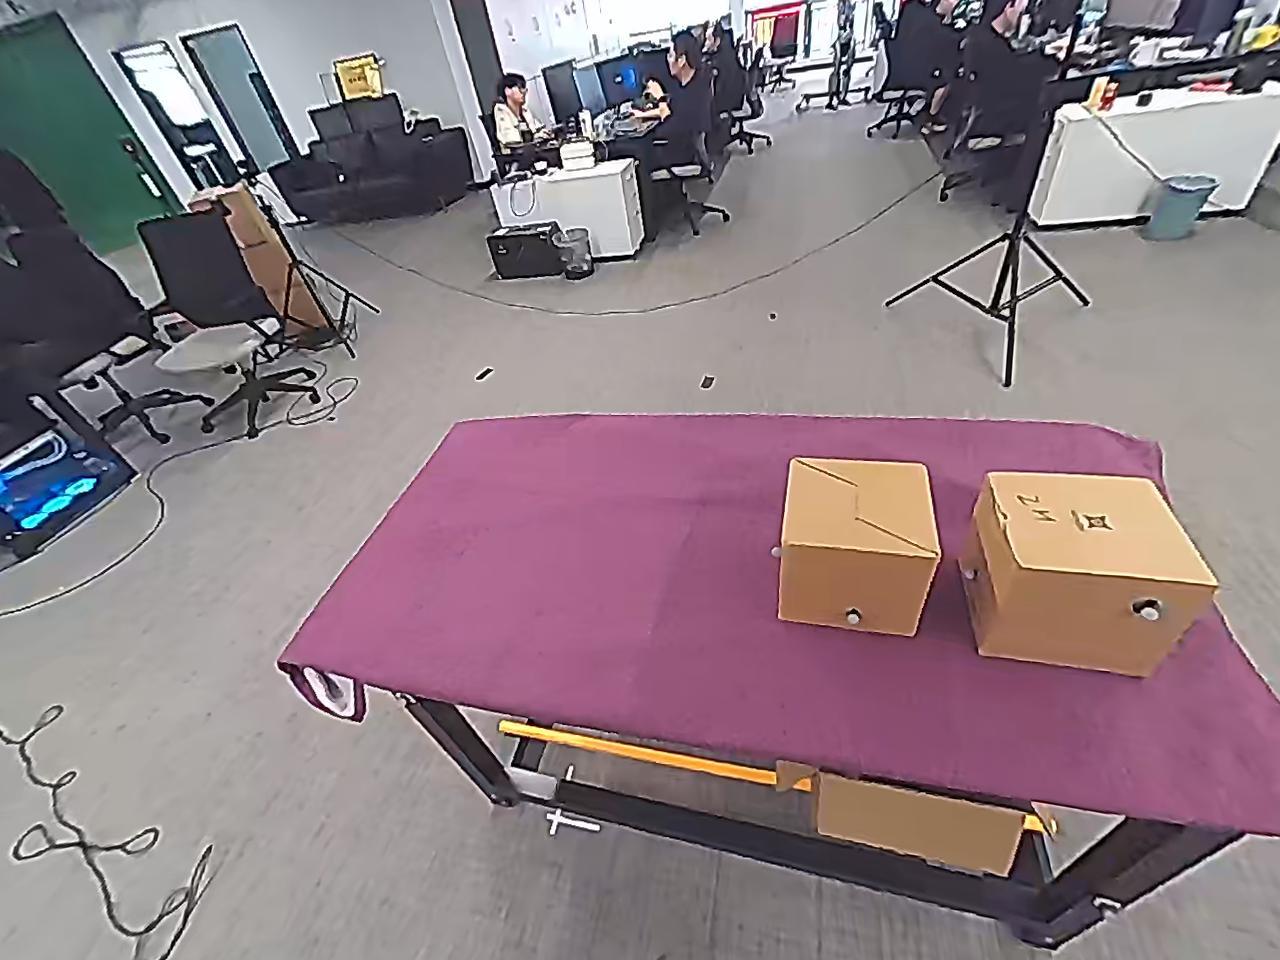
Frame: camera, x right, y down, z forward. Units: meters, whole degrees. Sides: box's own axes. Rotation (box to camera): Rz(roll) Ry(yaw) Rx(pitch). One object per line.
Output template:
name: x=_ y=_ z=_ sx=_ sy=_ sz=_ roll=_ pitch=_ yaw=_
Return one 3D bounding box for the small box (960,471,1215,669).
small box: x=0.521 y=0.110 z=0.666 sx=0.179 sy=0.176 sz=0.168 roll=4 pitch=40 yaw=17

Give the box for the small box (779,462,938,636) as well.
small box: x=0.290 y=0.088 z=0.746 sx=0.179 sy=0.176 sz=0.168 roll=3 pitch=41 yaw=18
